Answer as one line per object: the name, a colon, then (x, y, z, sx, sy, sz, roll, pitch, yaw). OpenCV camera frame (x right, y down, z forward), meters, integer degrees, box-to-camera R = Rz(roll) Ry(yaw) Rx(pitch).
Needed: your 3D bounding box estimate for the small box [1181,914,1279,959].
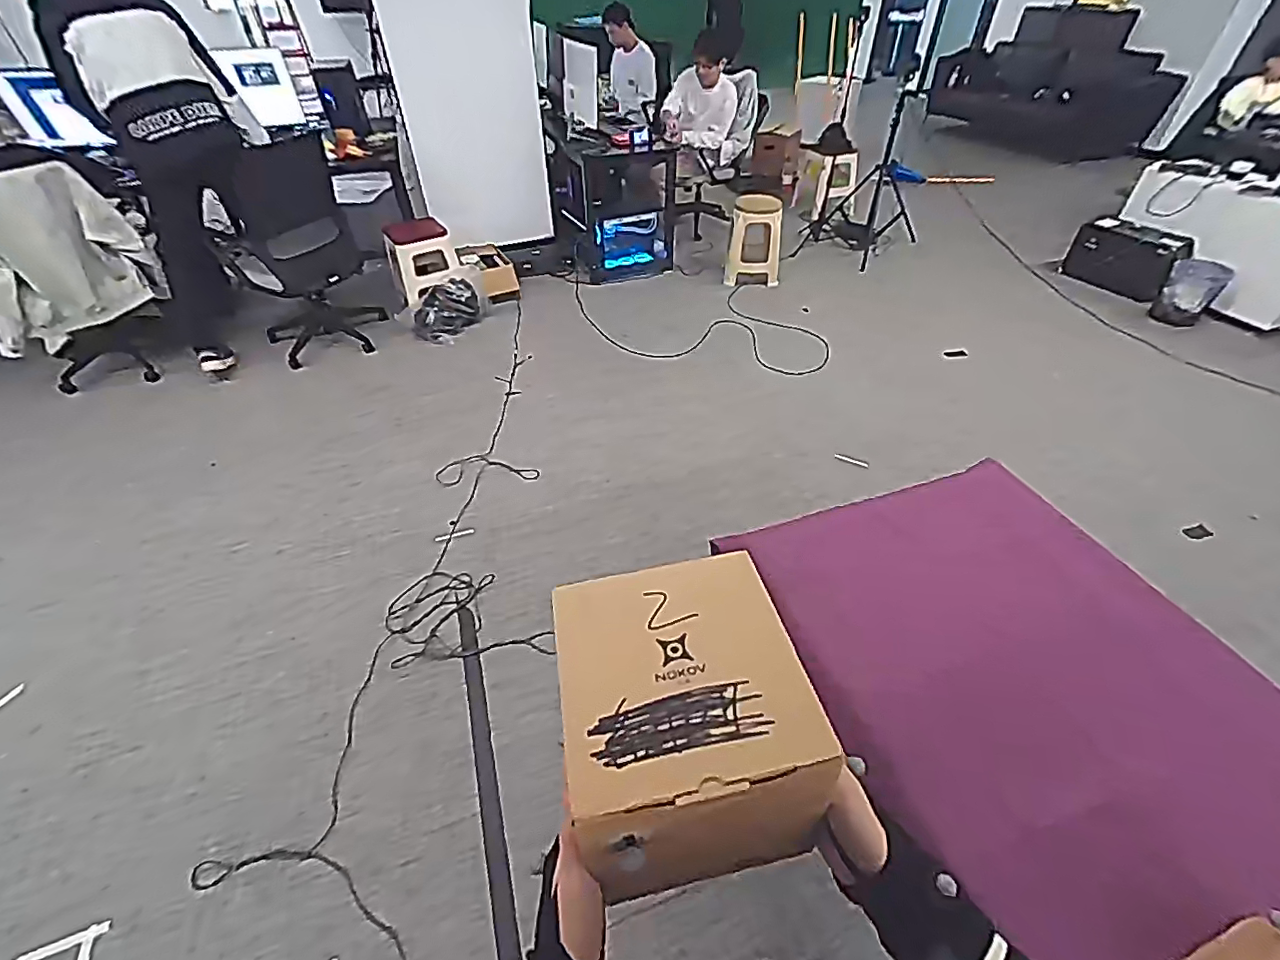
small box: (0.627, 0.507, 0.476, 0.179, 0.176, 0.168, -14, 45, -14)
